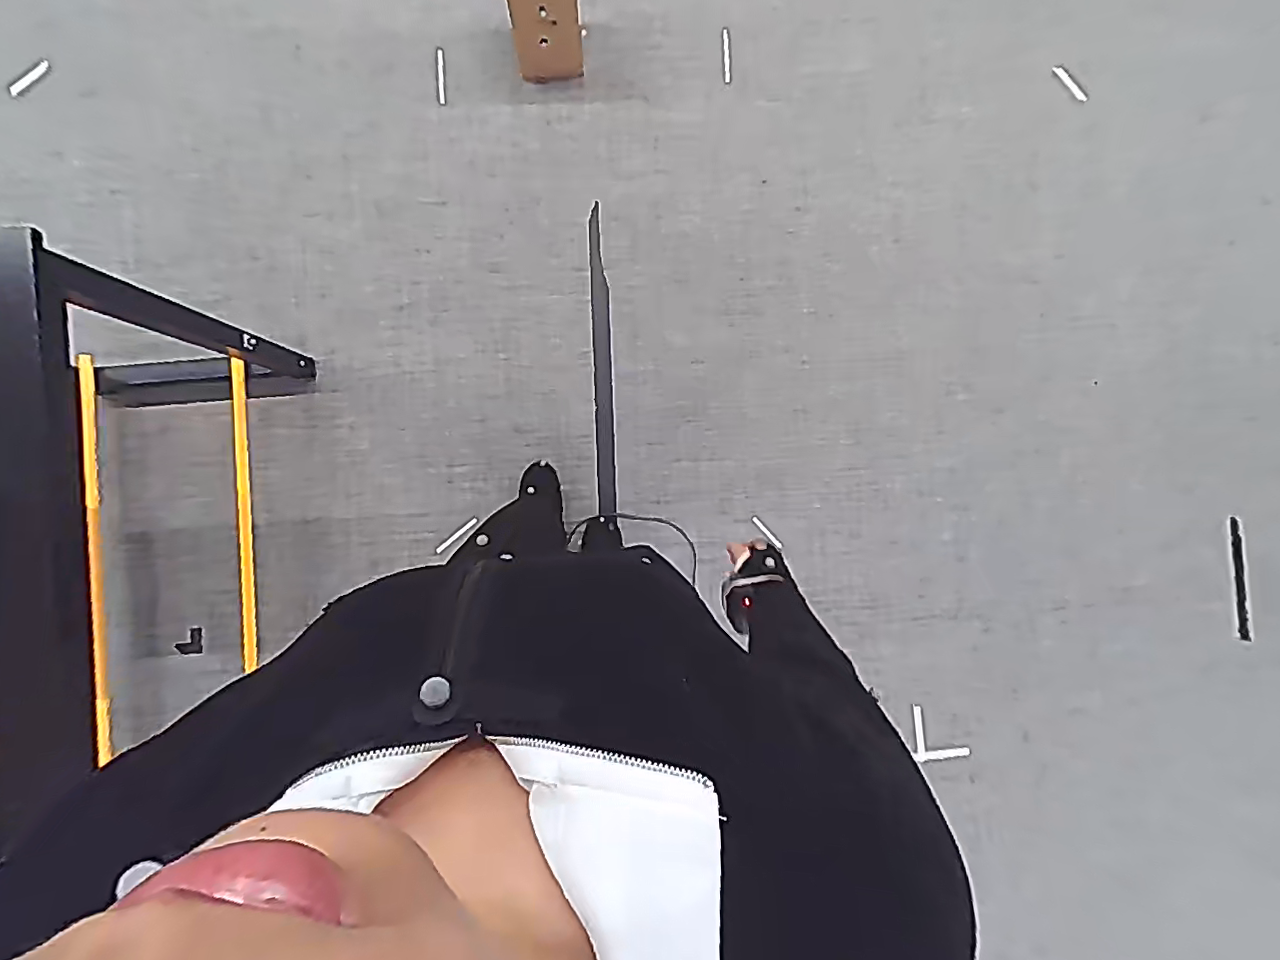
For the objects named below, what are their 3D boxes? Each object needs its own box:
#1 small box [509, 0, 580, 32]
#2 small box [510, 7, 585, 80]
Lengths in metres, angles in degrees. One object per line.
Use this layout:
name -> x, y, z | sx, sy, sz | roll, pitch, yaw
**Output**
small box -> -0.229, -1.199, 1.259 | 0.168, 0.176, 0.179 | -3, 90, -3
small box -> -0.242, -1.195, 1.423 | 0.179, 0.176, 0.168 | -7, 90, -4
